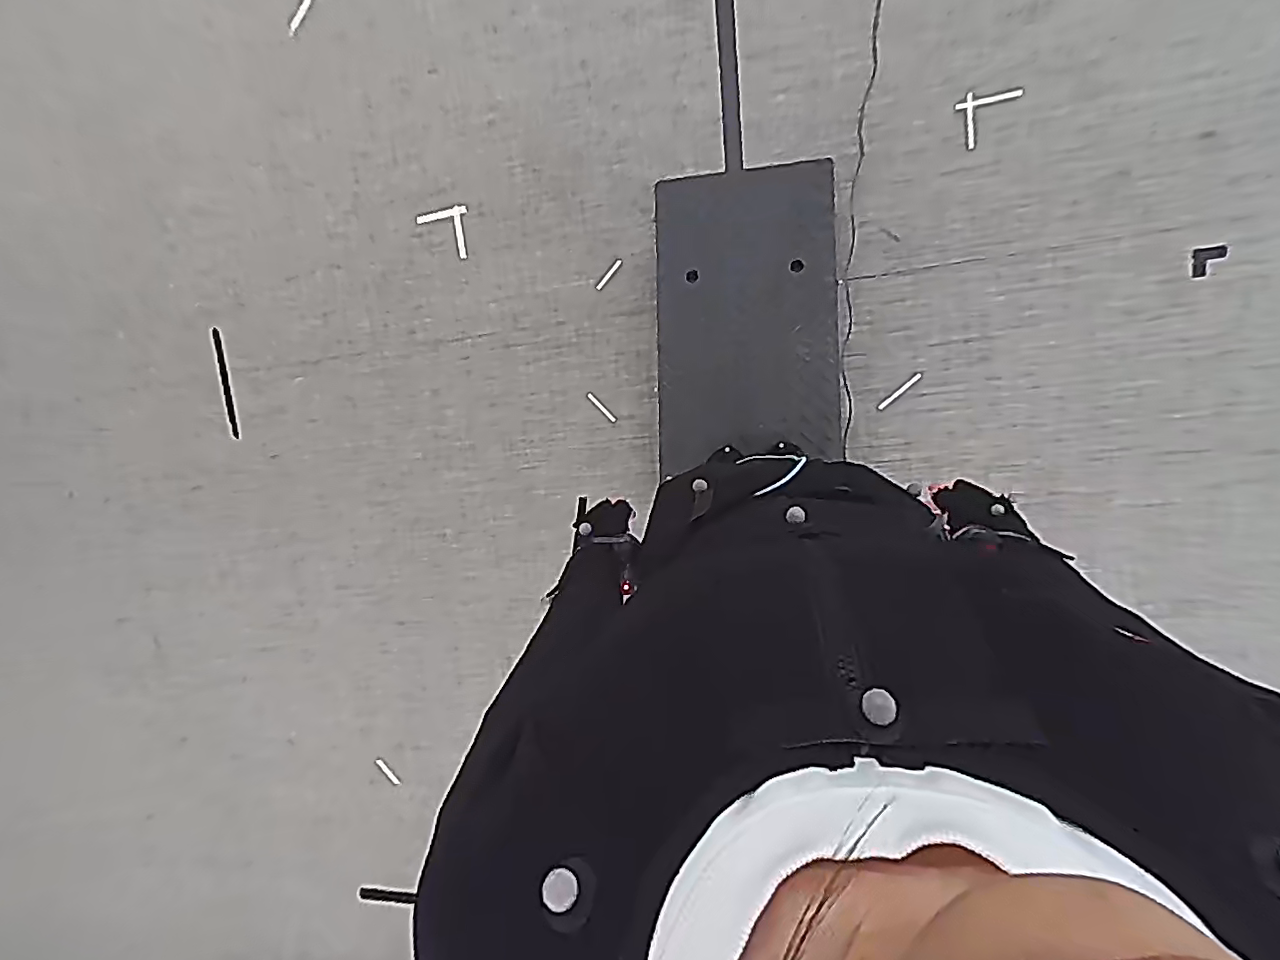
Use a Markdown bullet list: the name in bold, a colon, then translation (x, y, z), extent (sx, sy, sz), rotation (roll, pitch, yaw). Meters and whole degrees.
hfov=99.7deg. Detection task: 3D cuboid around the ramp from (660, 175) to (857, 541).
- **ramp**: translation (0.309, -0.336, 1.502), extent (0.509, 0.206, 0.991), rotation (-5, 94, 14)
